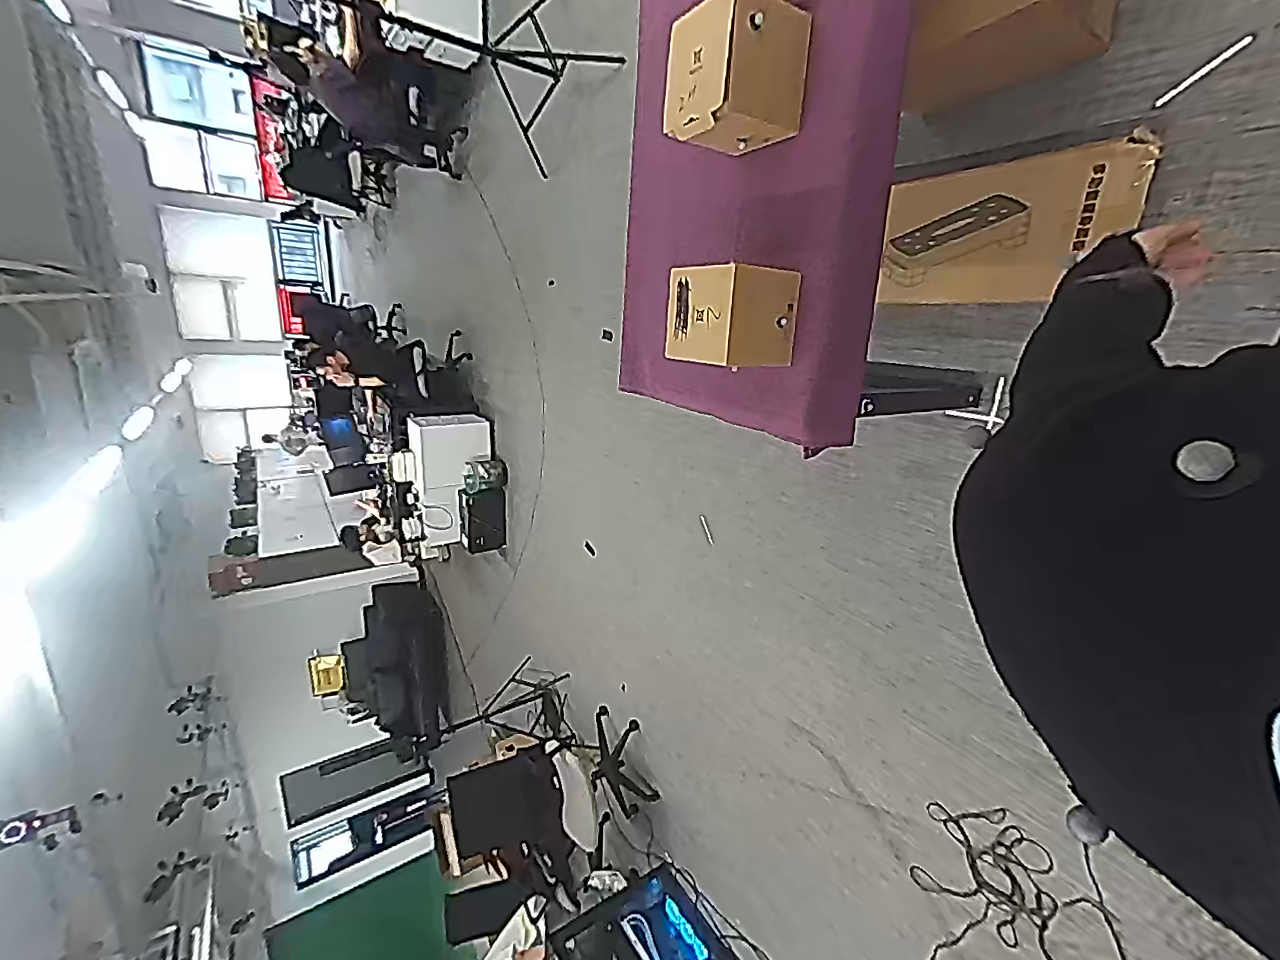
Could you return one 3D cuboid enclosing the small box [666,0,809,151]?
[{"bbox_3d":[0.164,-0.689,0.918,0.168,0.176,0.179,26,118,54],"label":"small box"}]
